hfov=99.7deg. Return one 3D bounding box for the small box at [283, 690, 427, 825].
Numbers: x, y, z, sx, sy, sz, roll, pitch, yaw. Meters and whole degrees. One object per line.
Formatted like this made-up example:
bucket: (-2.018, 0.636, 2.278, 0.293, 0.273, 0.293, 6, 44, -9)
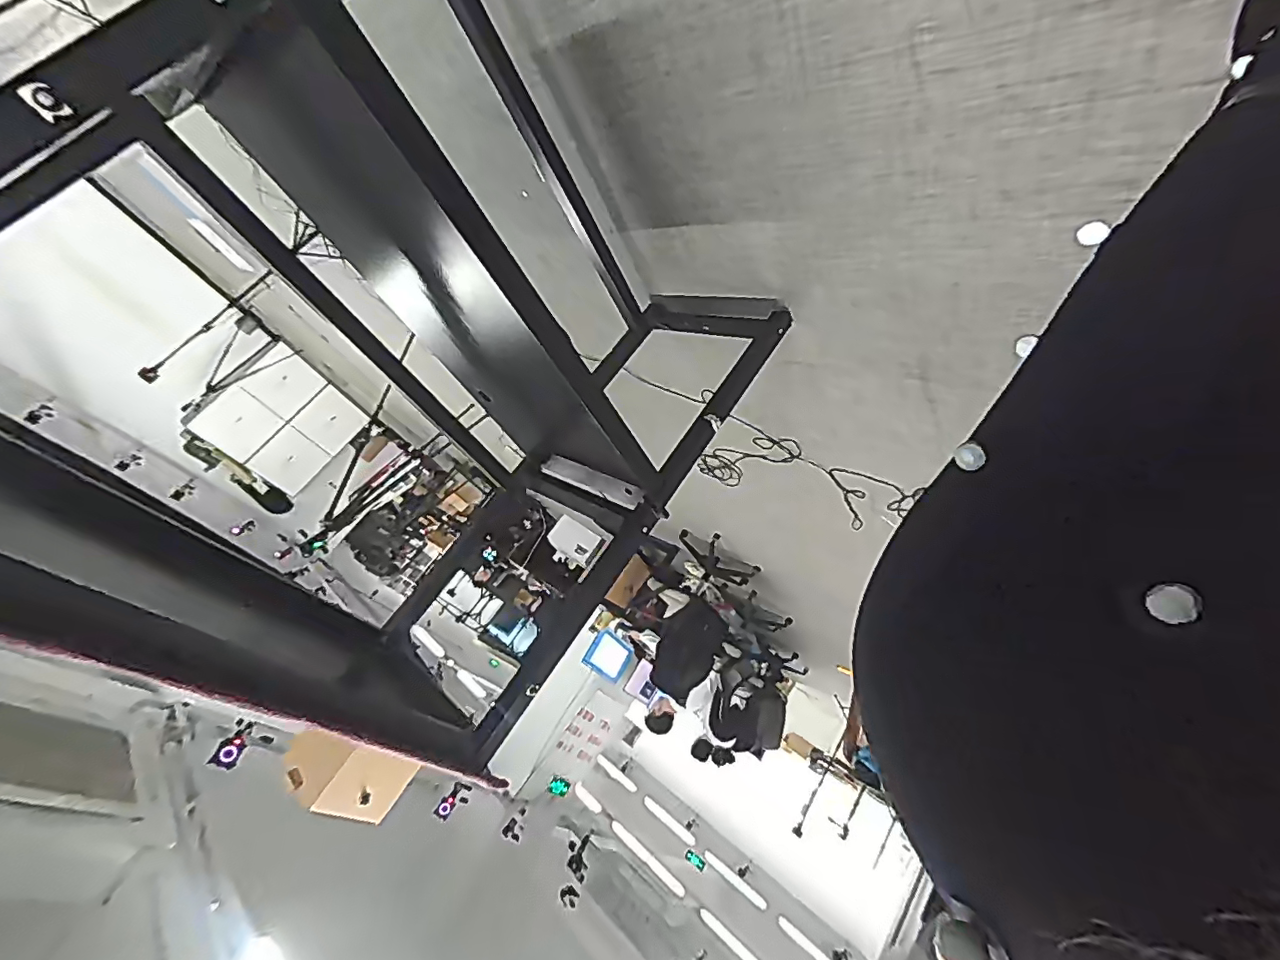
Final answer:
small box: (-0.580, 0.569, 1.118, 0.168, 0.176, 0.179, 19, 155, 41)
